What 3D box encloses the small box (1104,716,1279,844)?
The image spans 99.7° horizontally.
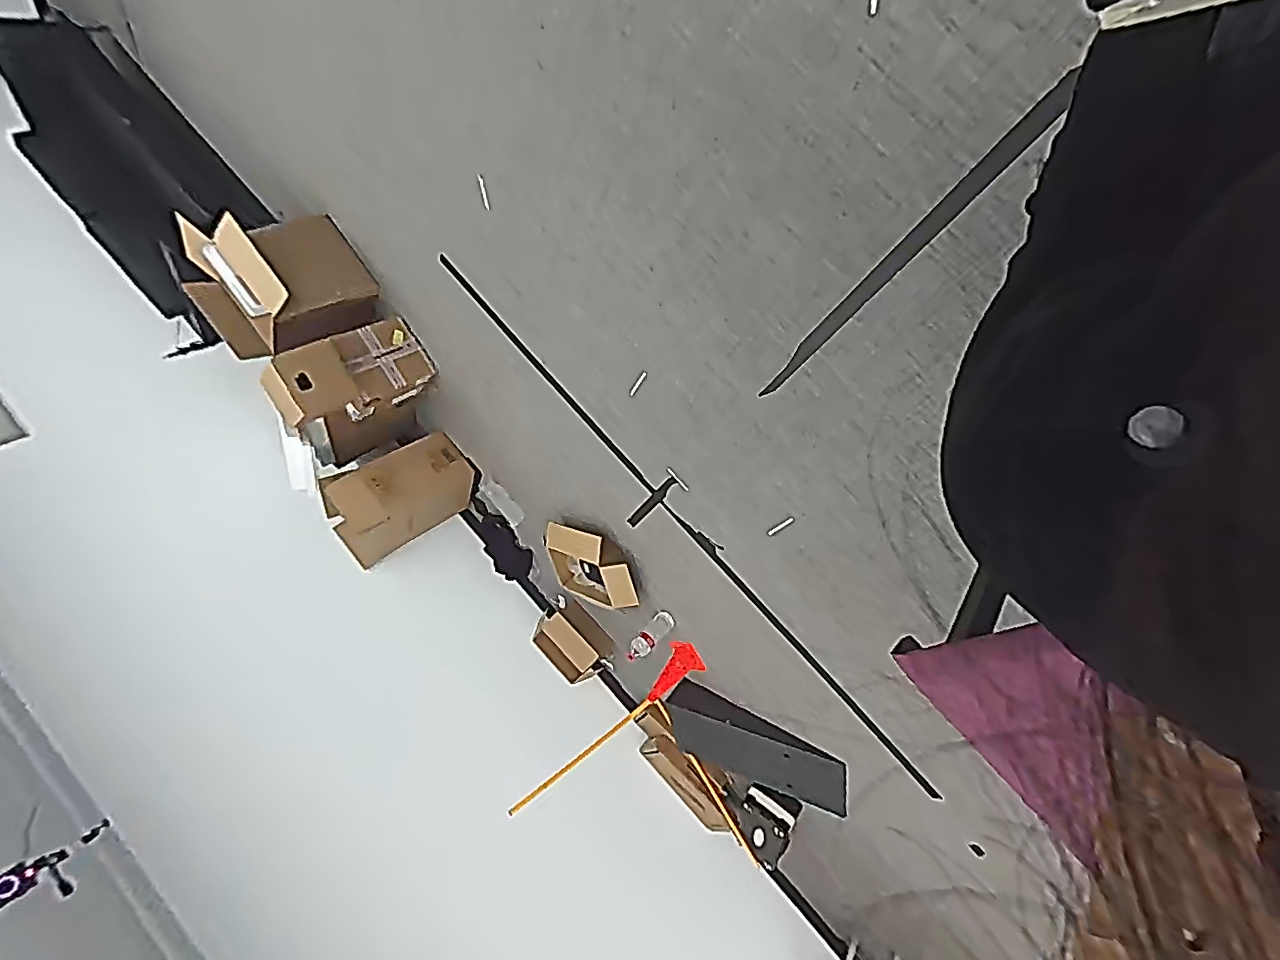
[{"bbox_3d":[0.746,0.430,0.684,0.179,0.176,0.168,50,144,4],"label":"small box"}]

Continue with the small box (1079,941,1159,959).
[{"bbox_3d":[0.529,0.583,0.493,0.179,0.176,0.168,51,143,2],"label":"small box"}]

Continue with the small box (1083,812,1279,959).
[{"bbox_3d":[0.638,0.507,0.588,0.179,0.176,0.168,51,143,1],"label":"small box"}]
